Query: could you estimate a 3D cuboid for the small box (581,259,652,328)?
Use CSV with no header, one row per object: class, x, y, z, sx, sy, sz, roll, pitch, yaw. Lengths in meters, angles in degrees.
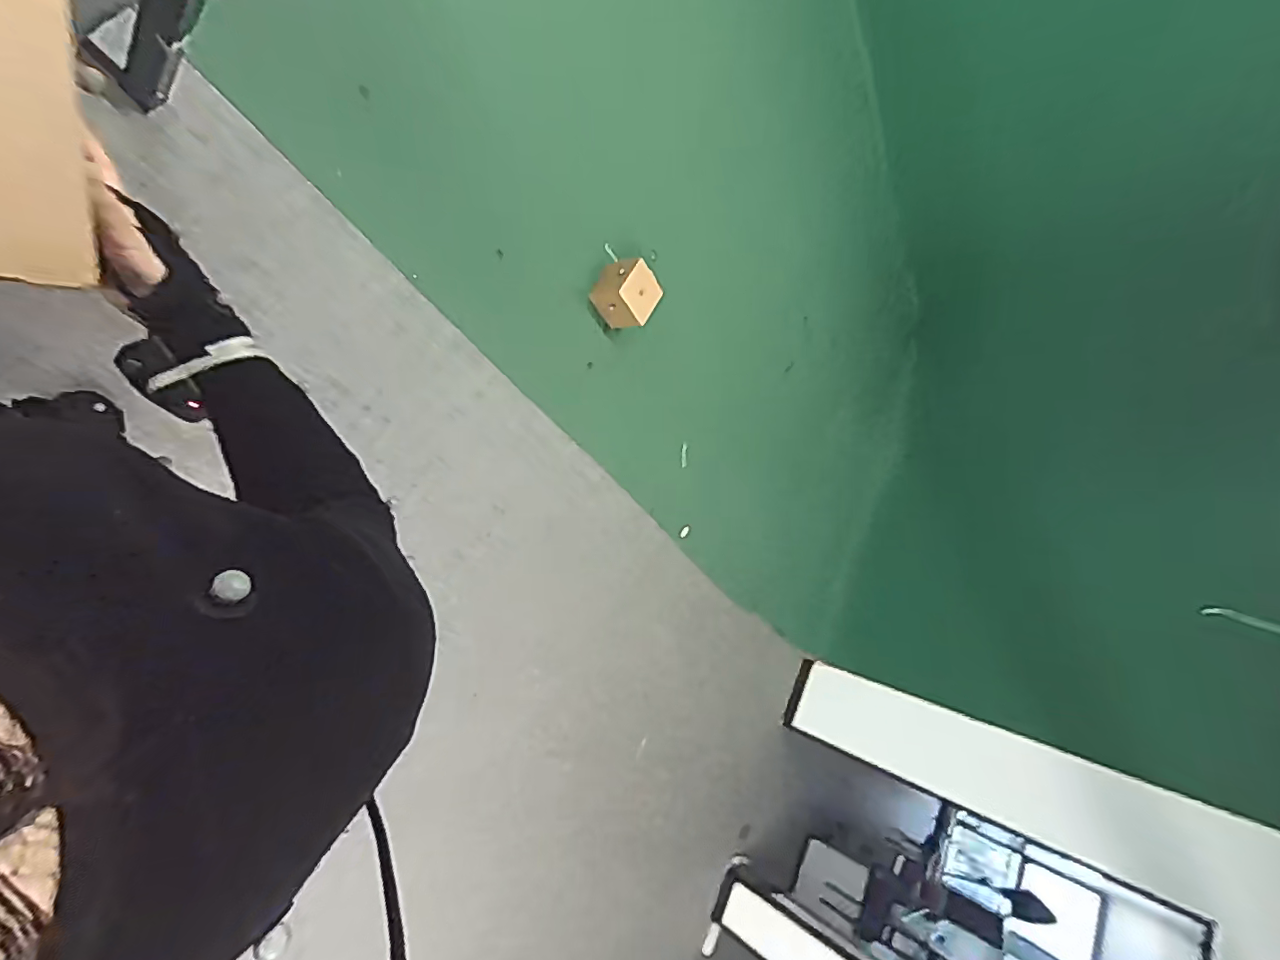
small box,-0.093,-0.681,1.991,0.168,0.176,0.179,48,61,-42
